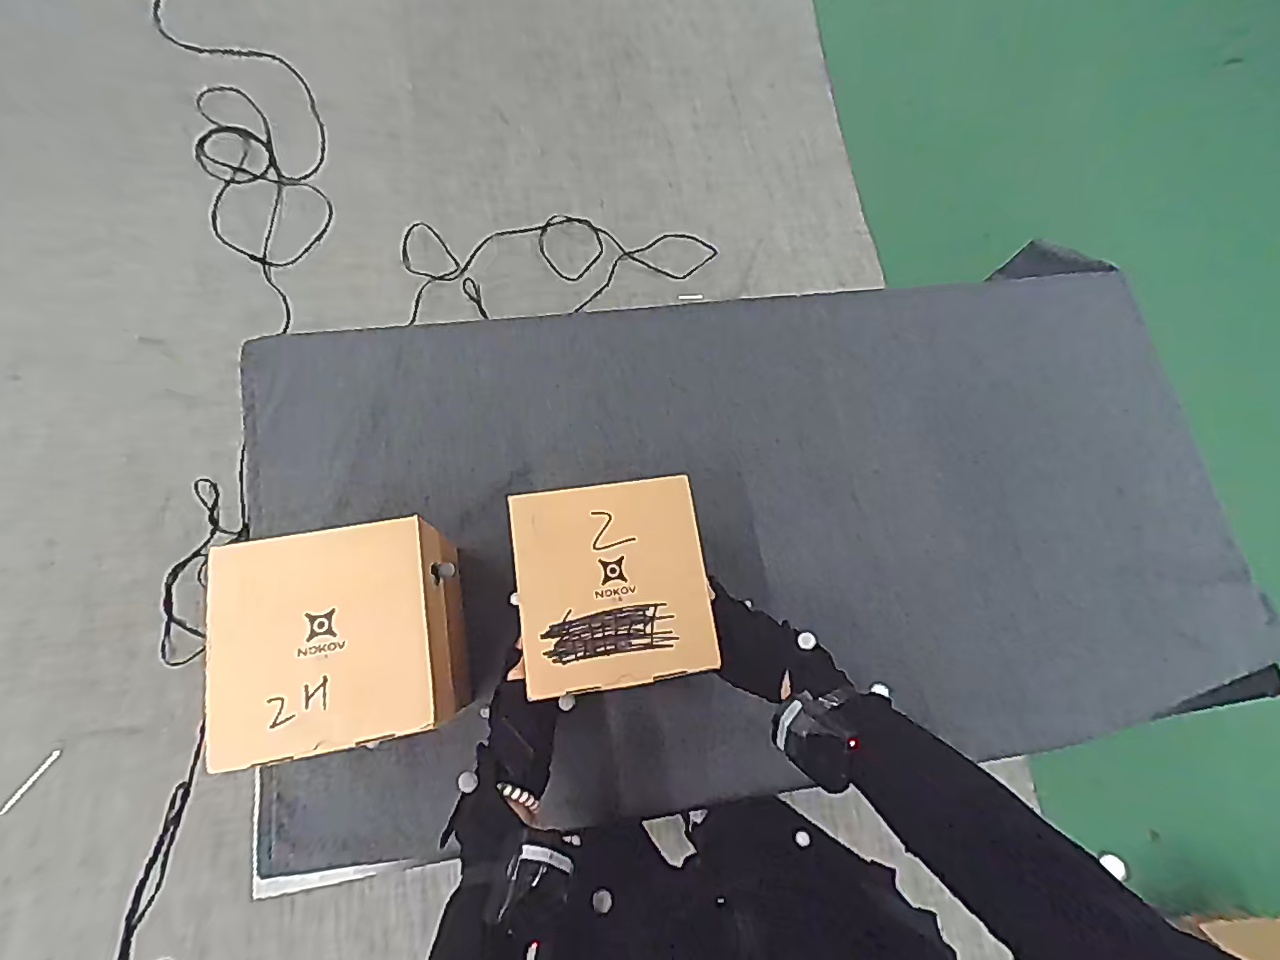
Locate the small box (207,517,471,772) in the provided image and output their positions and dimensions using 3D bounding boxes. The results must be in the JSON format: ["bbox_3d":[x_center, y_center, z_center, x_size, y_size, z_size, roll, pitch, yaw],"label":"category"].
[{"bbox_3d":[-0.262,0.146,0.508,0.168,0.176,0.179,-8,75,-9],"label":"small box"}]
